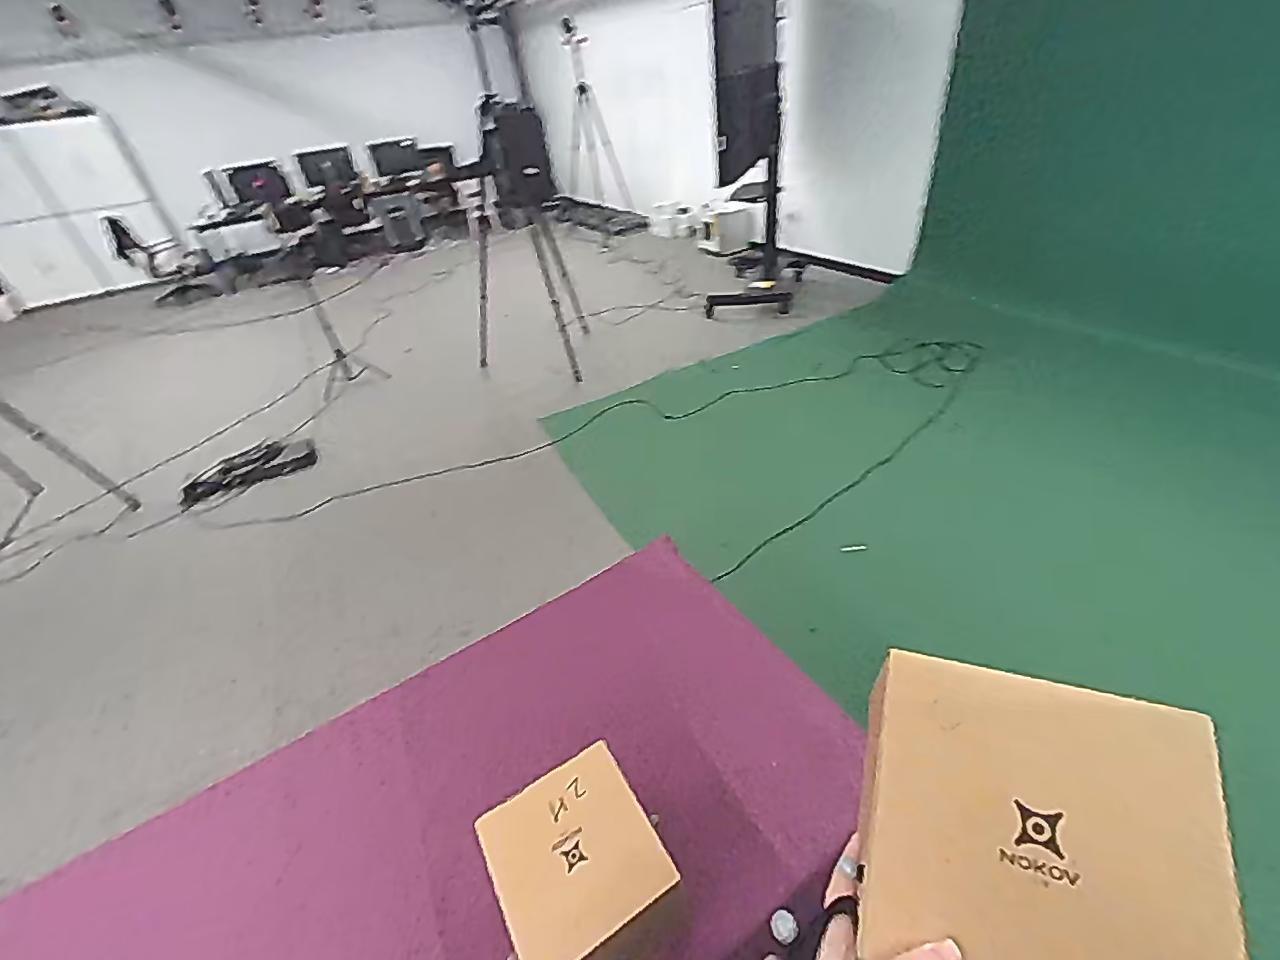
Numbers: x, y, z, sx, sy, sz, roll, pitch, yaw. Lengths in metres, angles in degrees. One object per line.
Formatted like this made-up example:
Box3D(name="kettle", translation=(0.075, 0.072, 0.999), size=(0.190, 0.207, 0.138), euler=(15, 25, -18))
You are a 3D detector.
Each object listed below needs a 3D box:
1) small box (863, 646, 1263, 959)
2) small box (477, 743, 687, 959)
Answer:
Box3D(name="small box", translation=(0.248, 0.233, 0.362), size=(0.168, 0.176, 0.179), euler=(7, 65, 23))
Box3D(name="small box", translation=(-0.060, 0.454, 0.617), size=(0.168, 0.176, 0.179), euler=(-25, 40, -21))
